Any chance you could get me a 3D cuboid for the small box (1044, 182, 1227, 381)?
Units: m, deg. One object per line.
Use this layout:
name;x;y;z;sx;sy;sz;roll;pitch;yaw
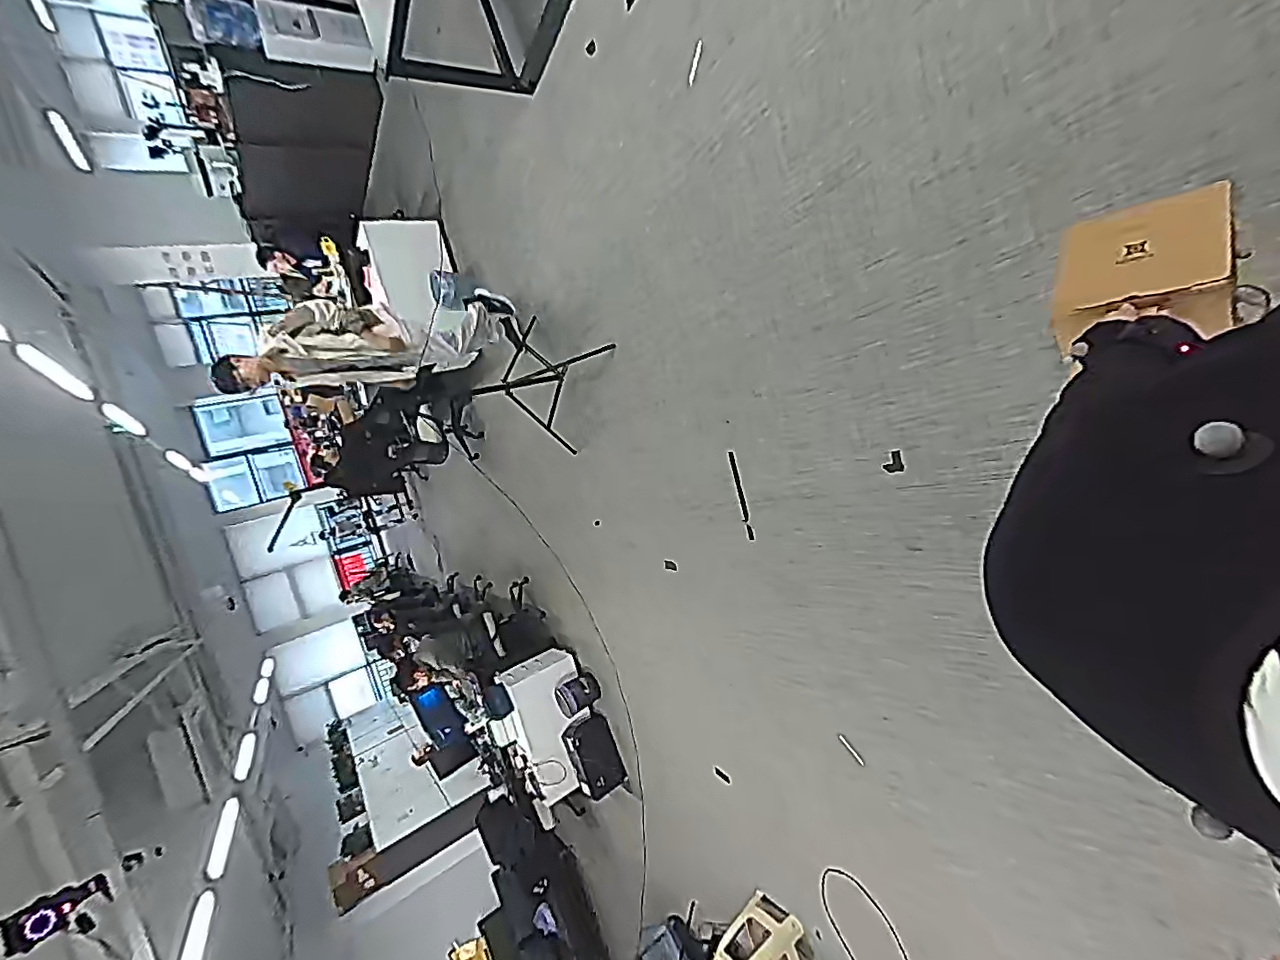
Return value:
small box;0.680;-0.252;0.740;0.168;0.179;0.176;-1;148;48
